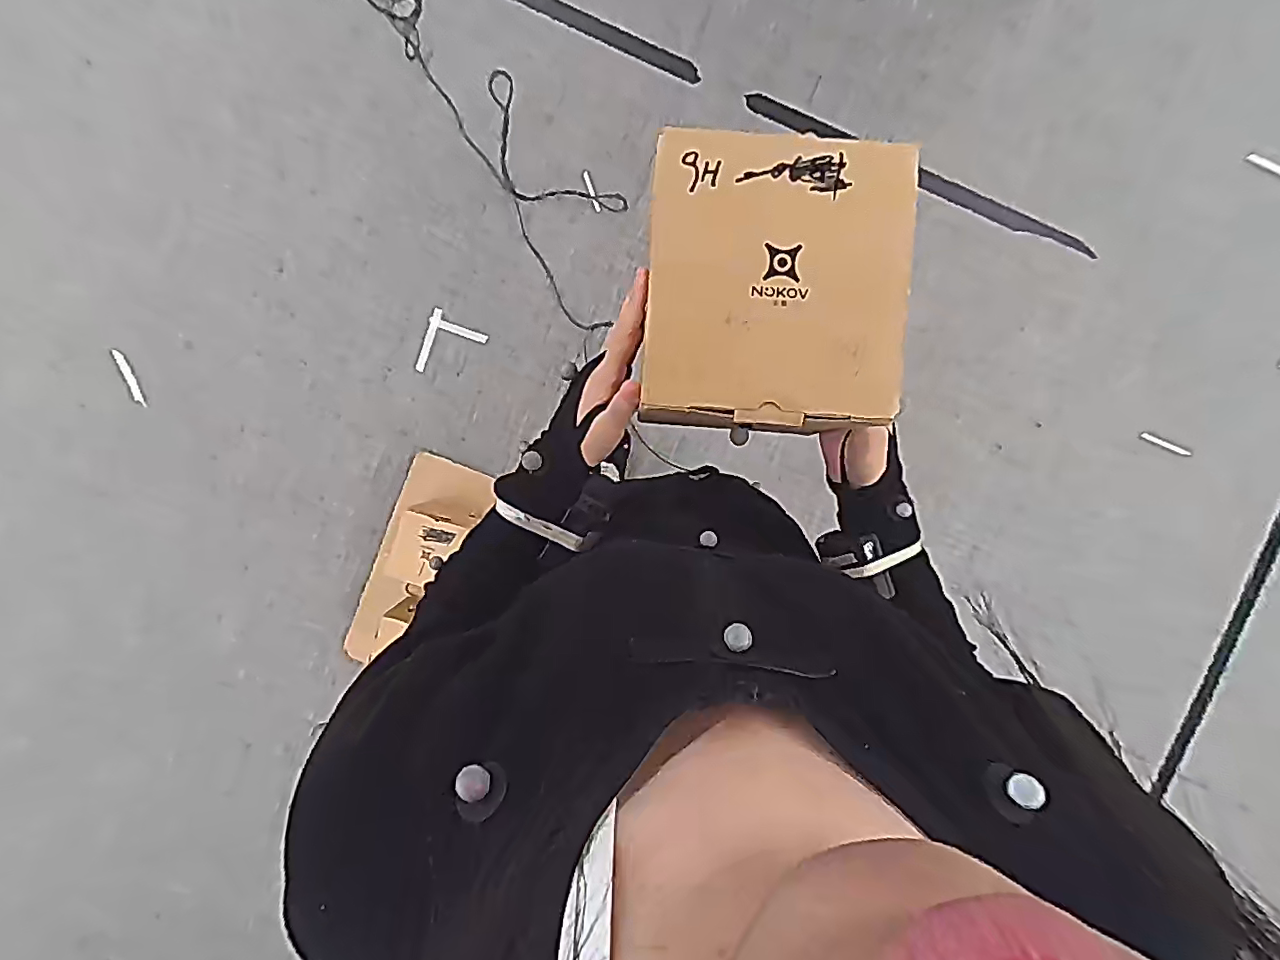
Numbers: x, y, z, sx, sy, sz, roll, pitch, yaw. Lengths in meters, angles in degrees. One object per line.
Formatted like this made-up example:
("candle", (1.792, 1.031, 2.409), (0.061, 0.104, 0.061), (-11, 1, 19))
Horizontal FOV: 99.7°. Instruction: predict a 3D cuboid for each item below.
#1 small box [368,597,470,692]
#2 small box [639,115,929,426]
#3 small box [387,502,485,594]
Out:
("small box", (-0.566, 0.418, 1.404), (0.179, 0.176, 0.168), (16, 95, -4))
("small box", (0.087, -0.134, 0.412), (0.168, 0.176, 0.179), (4, 93, -2))
("small box", (-0.512, 0.165, 1.385), (0.168, 0.176, 0.179), (18, 93, -3))
